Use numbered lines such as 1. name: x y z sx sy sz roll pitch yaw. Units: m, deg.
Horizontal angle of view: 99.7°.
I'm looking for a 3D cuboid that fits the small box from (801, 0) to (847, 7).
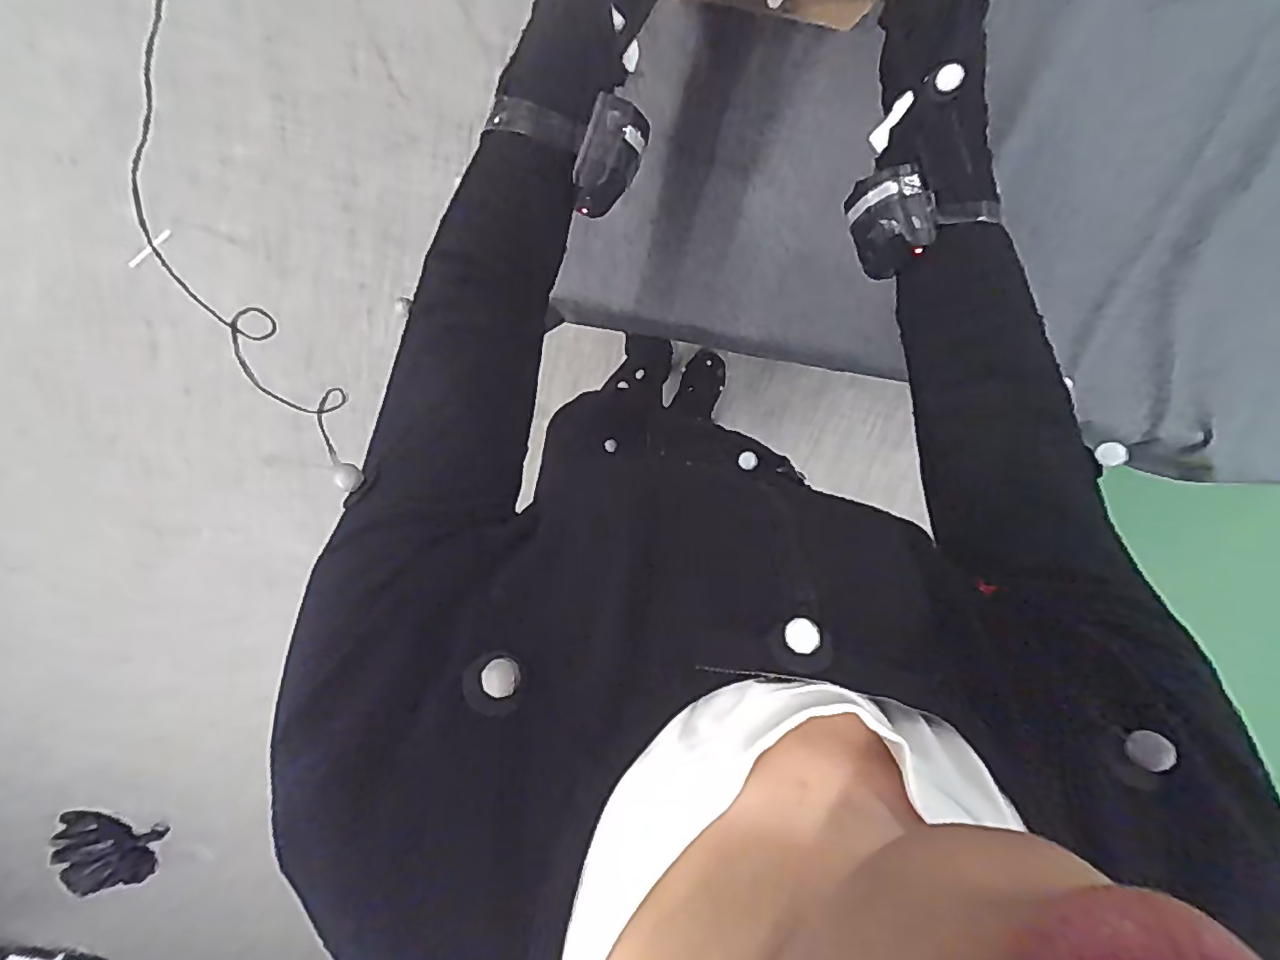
1. small box: 0.121 -0.483 0.388 0.168 0.176 0.179 10 118 -2
